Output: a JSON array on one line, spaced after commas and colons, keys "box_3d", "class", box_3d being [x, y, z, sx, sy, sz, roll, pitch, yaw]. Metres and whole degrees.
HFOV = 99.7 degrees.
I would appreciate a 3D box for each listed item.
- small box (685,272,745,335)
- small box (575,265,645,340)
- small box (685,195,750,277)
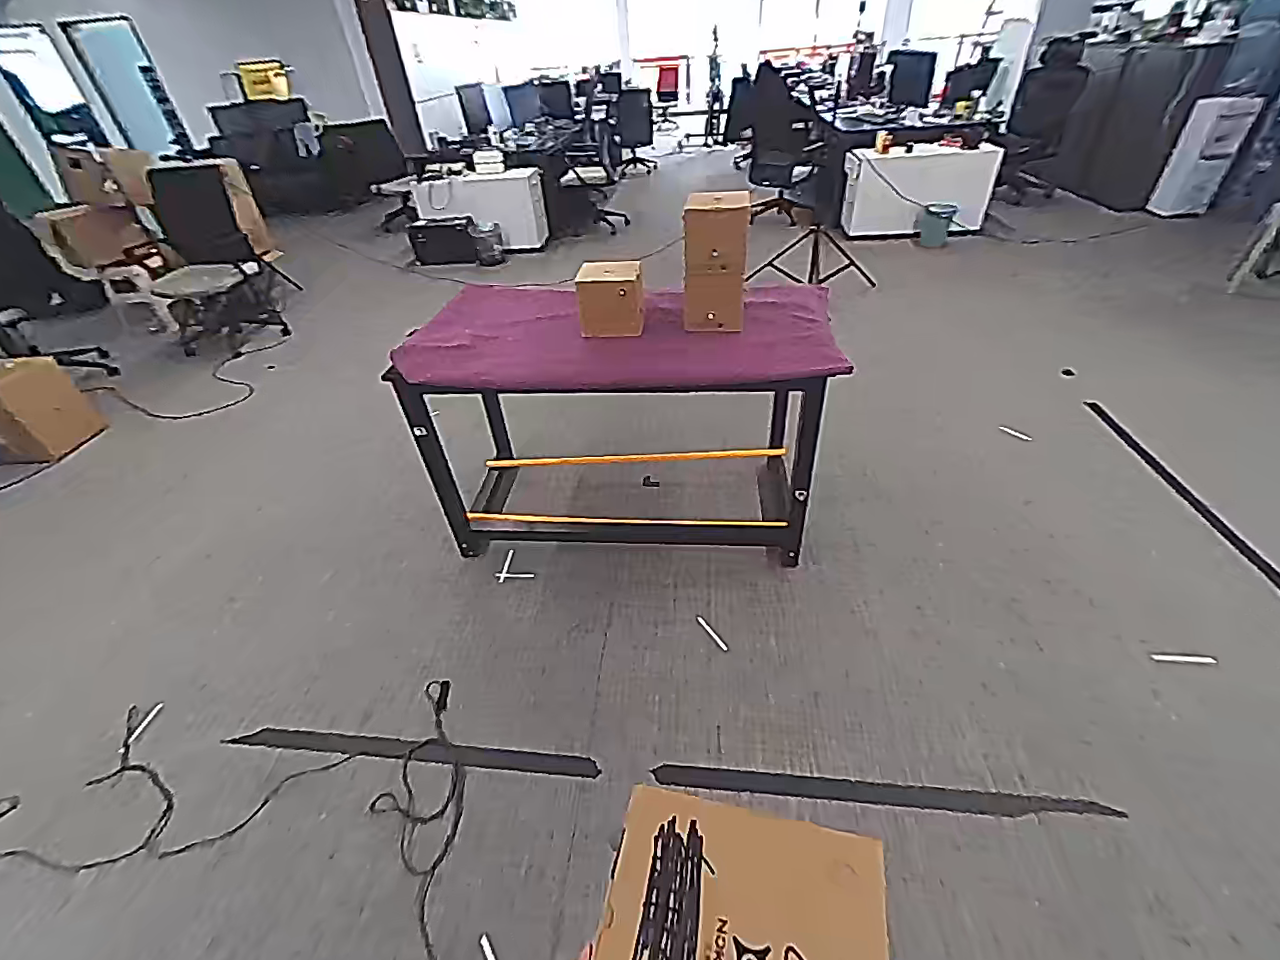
[{"box_3d": [0.220, -0.539, 1.581, 0.168, 0.176, 0.179, 3, 40, 10], "class": "small box"}, {"box_3d": [-0.082, -0.524, 1.598, 0.179, 0.176, 0.168, 1, 39, 6], "class": "small box"}, {"box_3d": [0.212, -0.667, 1.477, 0.168, 0.176, 0.179, 2, 40, 10], "class": "small box"}]
